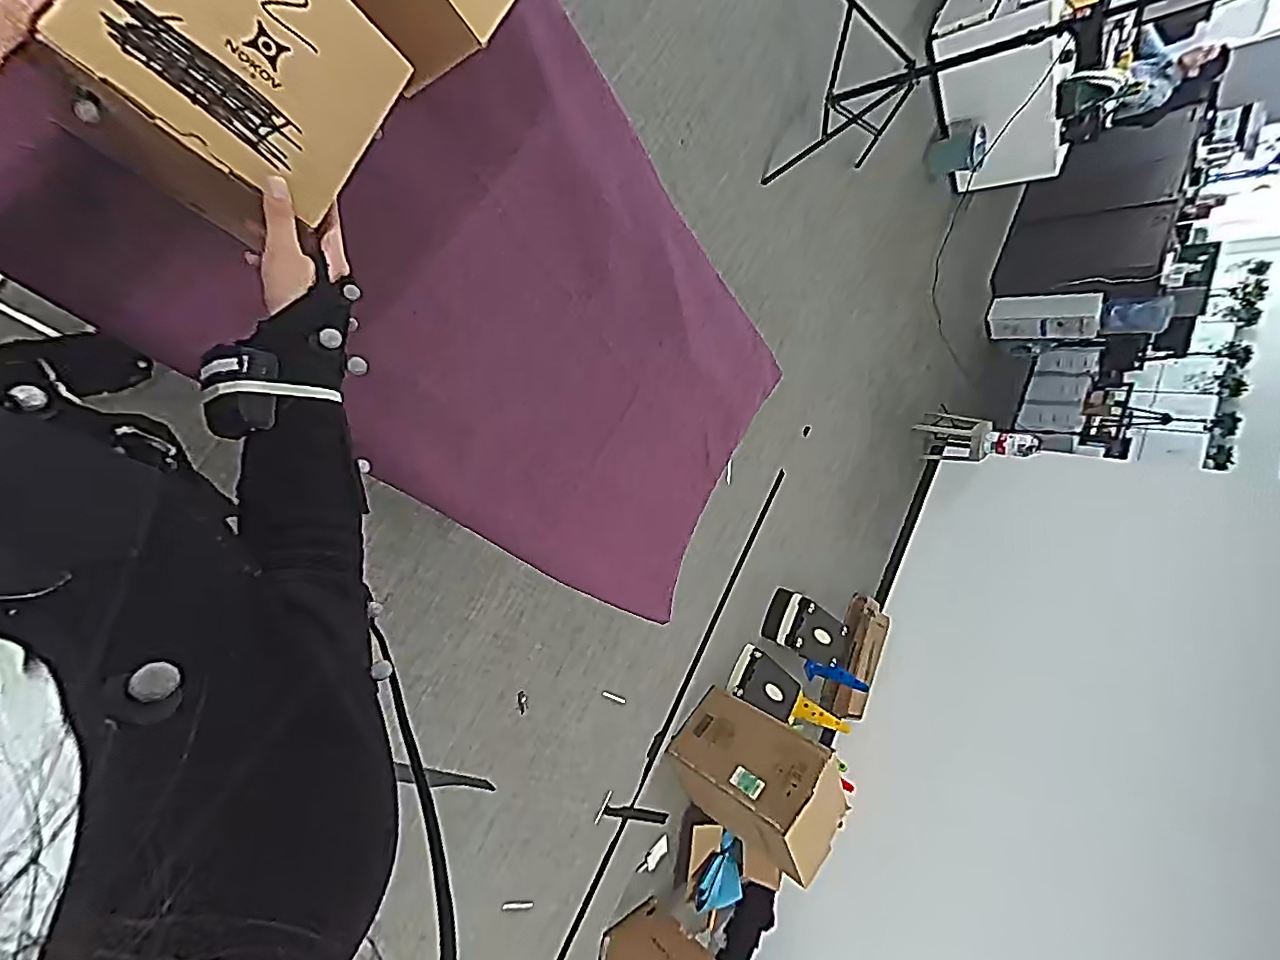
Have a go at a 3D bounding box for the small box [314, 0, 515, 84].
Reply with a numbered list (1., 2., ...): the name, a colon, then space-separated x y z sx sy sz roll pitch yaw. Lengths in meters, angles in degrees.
1. small box: -0.223 -0.525 0.518 0.179 0.176 0.168 39 72 -45
